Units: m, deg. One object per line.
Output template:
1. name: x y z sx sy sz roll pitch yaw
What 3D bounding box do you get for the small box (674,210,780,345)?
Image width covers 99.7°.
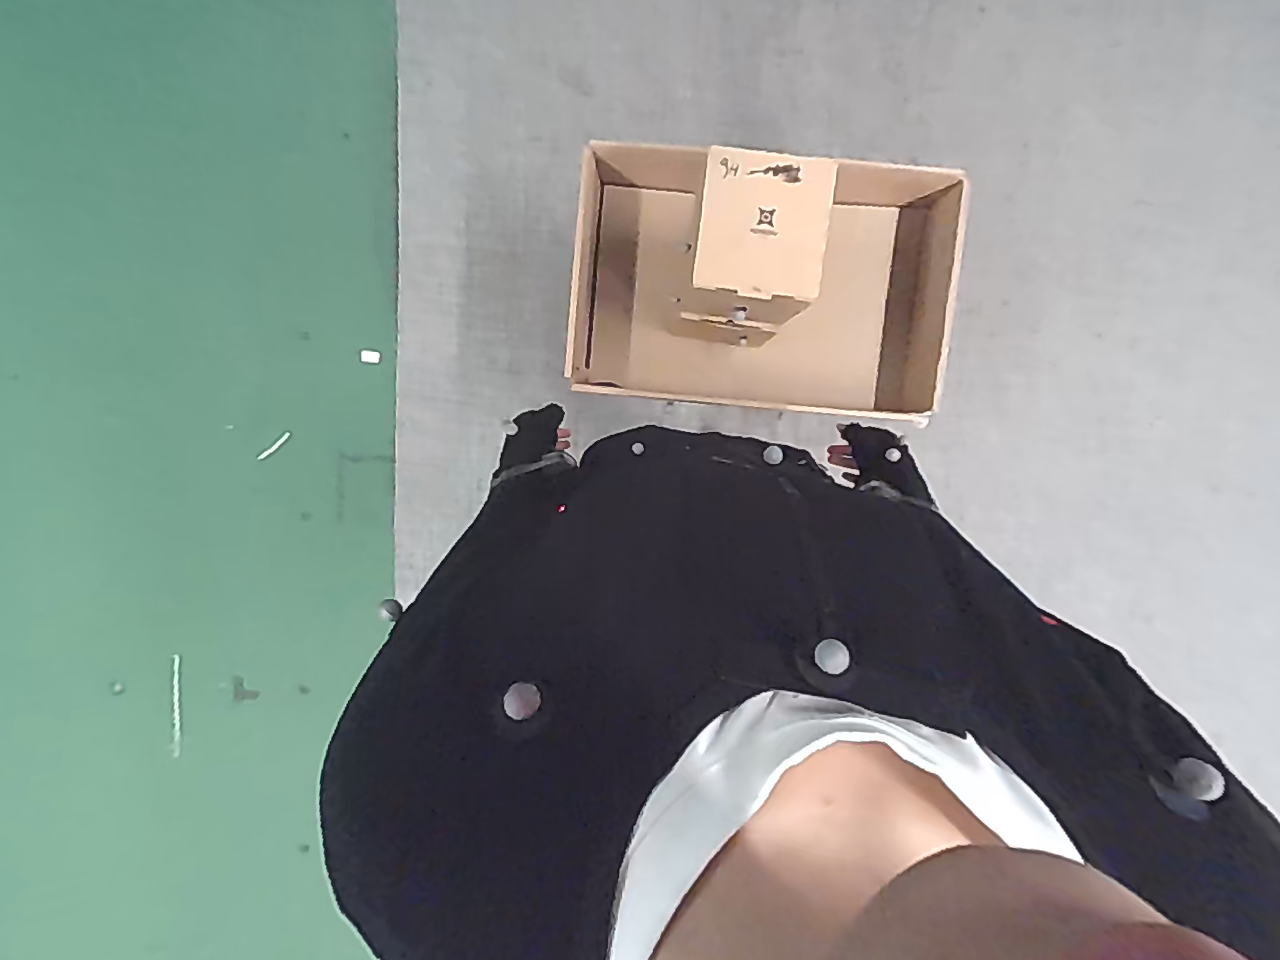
1. small box: 0.152 -0.339 0.931 0.168 0.176 0.179 7 94 -1

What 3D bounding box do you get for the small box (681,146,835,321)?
1. small box: 0.154 -0.332 0.766 0.168 0.176 0.179 7 97 -2
